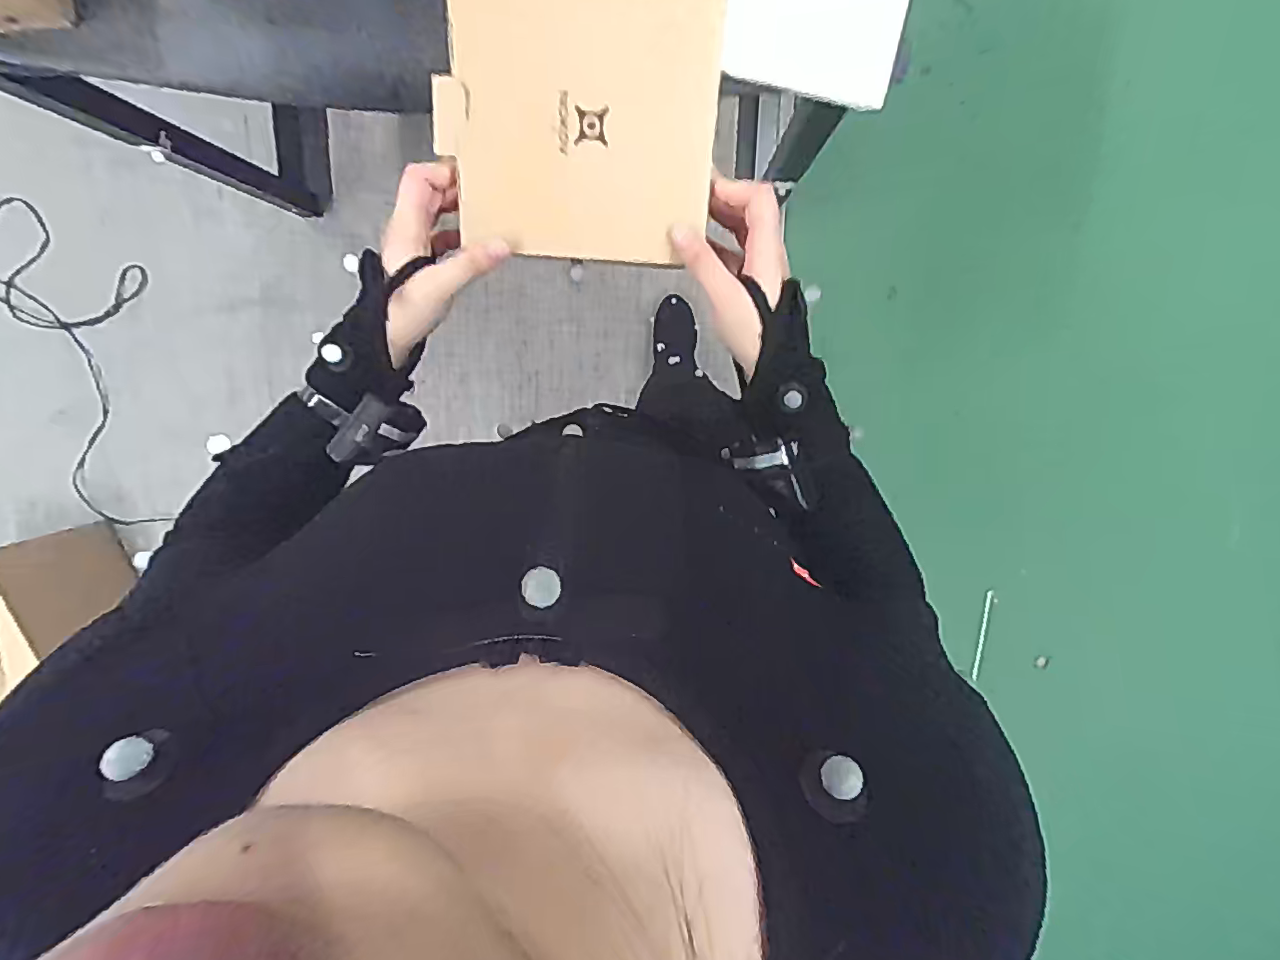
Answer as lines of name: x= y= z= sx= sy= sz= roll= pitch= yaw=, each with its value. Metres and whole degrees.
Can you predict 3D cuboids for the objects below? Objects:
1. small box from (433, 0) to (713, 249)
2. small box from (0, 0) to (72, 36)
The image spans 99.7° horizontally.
small box: x=-0.044 y=-0.277 z=0.428 sx=0.179 sy=0.176 sz=0.168 roll=3 pitch=112 yaw=0
small box: x=-0.758 y=-0.603 z=0.553 sx=0.168 sy=0.176 sz=0.179 roll=-3 pitch=101 yaw=2
